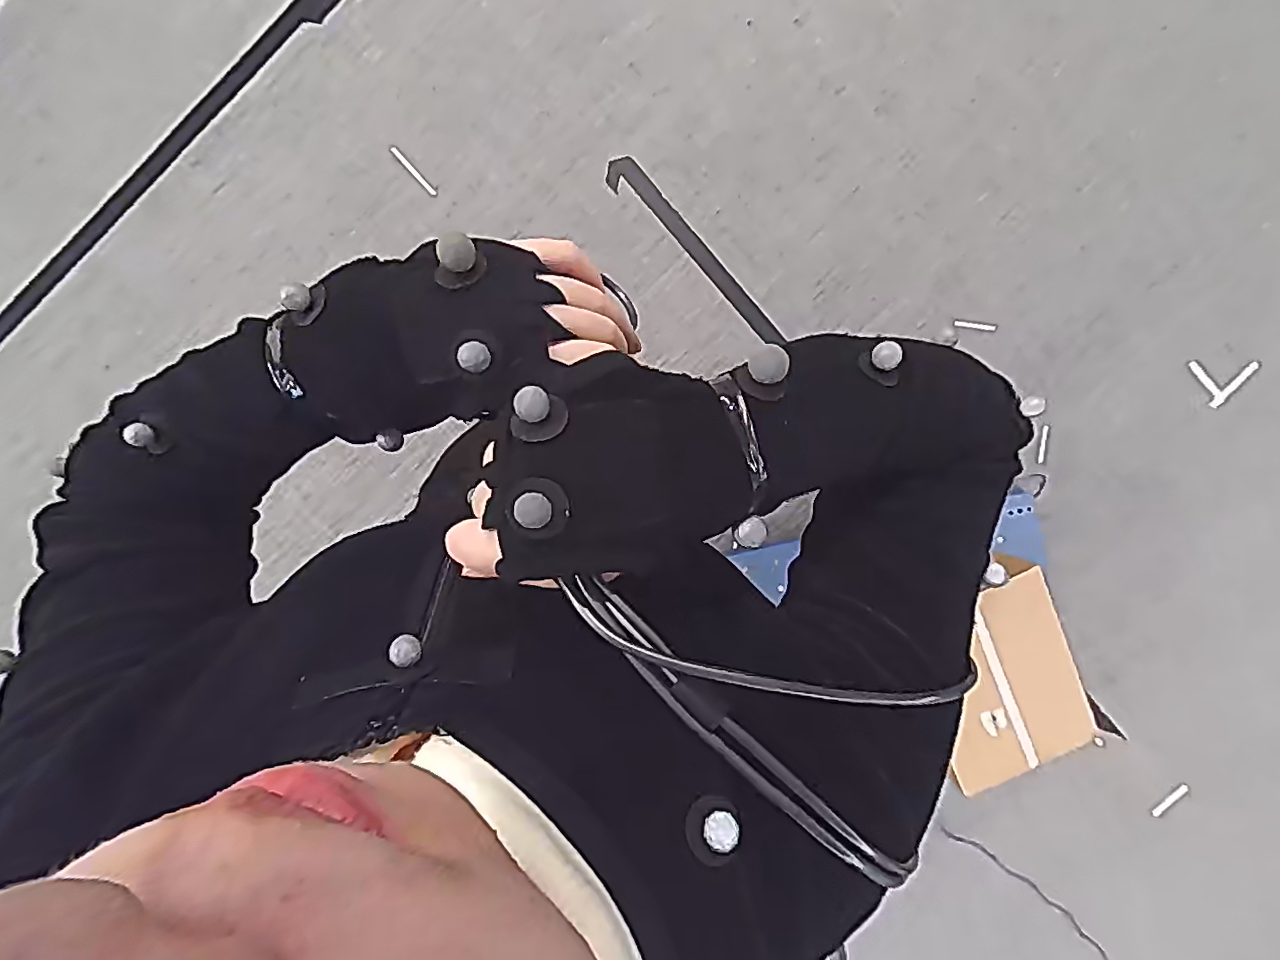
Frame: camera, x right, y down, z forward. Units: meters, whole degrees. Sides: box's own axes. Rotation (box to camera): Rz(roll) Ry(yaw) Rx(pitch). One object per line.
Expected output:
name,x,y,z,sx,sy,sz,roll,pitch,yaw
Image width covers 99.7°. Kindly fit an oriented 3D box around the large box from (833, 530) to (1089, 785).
large box,0.709,0.379,1.247,0.320,0.320,0.408,-24,98,0
